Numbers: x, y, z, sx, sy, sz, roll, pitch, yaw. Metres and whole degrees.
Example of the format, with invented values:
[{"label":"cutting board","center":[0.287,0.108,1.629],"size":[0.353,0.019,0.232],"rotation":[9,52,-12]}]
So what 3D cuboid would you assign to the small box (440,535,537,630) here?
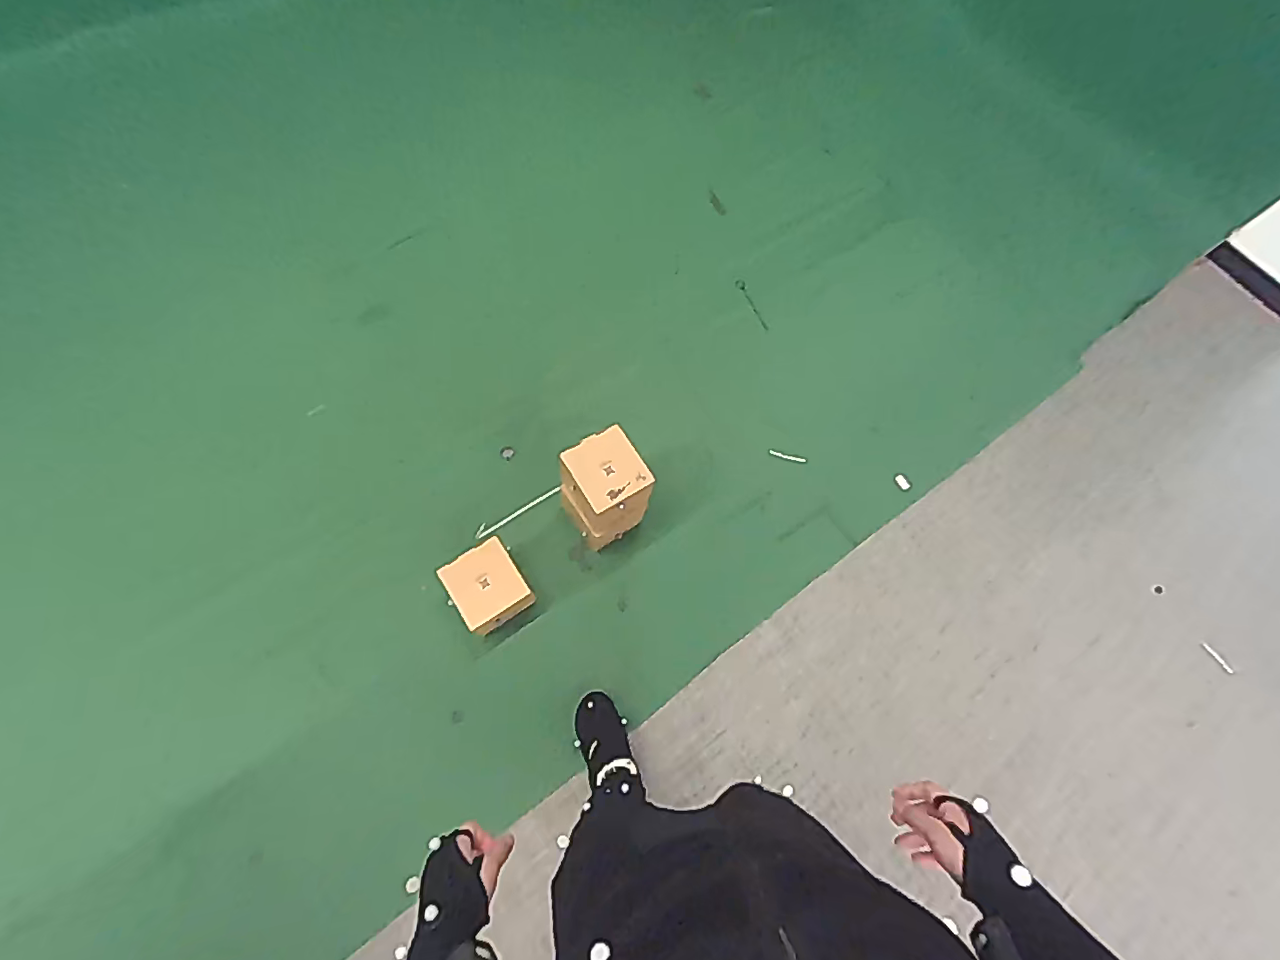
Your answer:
[{"label":"small box","center":[-0.380,0.271,1.389],"size":[0.168,0.176,0.179],"rotation":[-32,75,-15]}]

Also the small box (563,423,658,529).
[{"label":"small box","center":[-0.079,-0.004,1.344],"size":[0.168,0.176,0.179],"rotation":[-29,75,-15]}]
